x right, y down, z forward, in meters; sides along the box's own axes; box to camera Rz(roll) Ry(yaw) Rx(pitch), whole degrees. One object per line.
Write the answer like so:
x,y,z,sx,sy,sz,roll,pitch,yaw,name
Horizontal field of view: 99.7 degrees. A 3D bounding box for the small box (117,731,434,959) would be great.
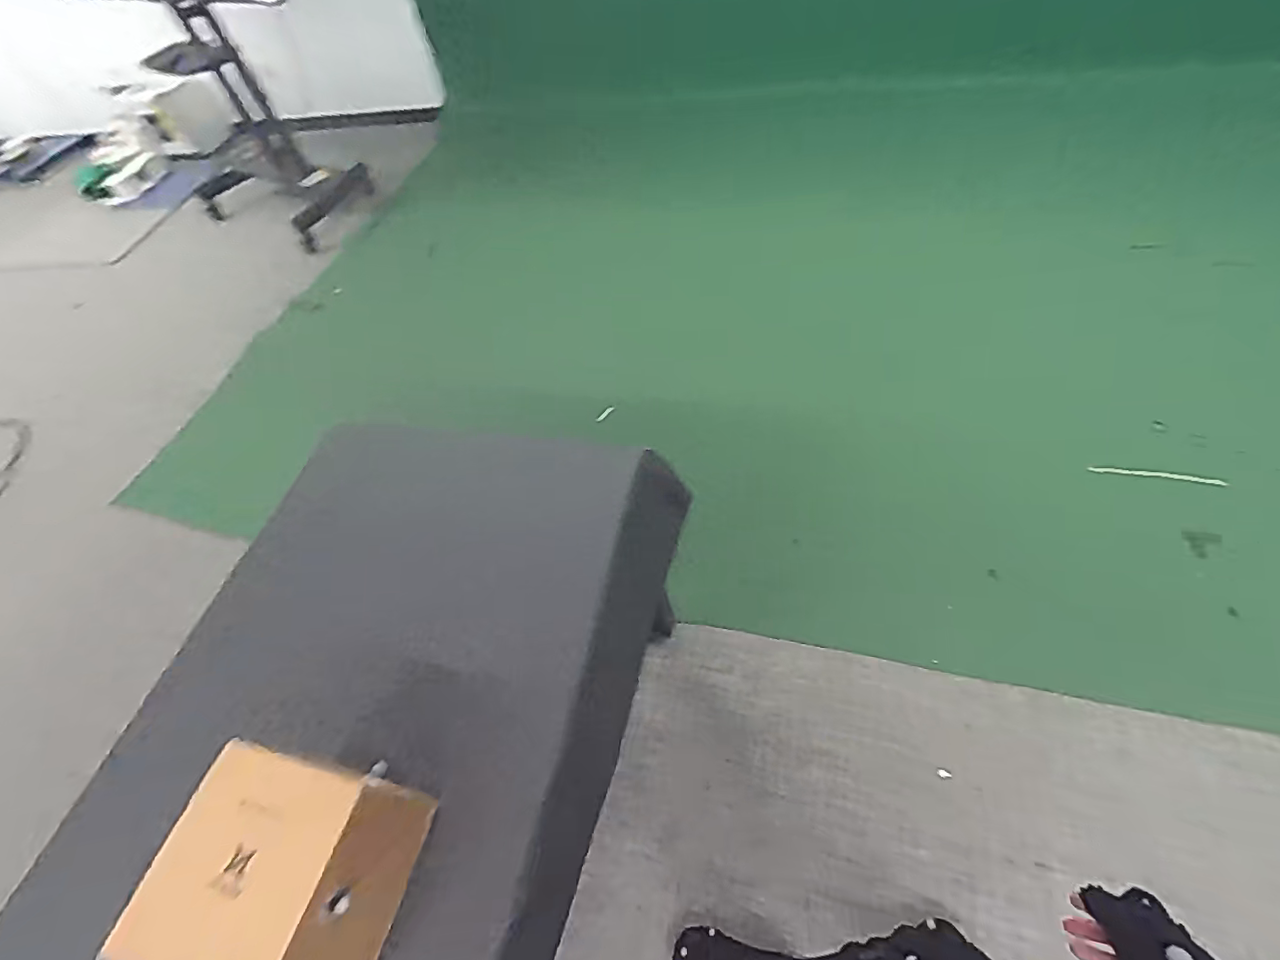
-0.345,0.384,0.556,0.168,0.176,0.179,7,56,15,small box
